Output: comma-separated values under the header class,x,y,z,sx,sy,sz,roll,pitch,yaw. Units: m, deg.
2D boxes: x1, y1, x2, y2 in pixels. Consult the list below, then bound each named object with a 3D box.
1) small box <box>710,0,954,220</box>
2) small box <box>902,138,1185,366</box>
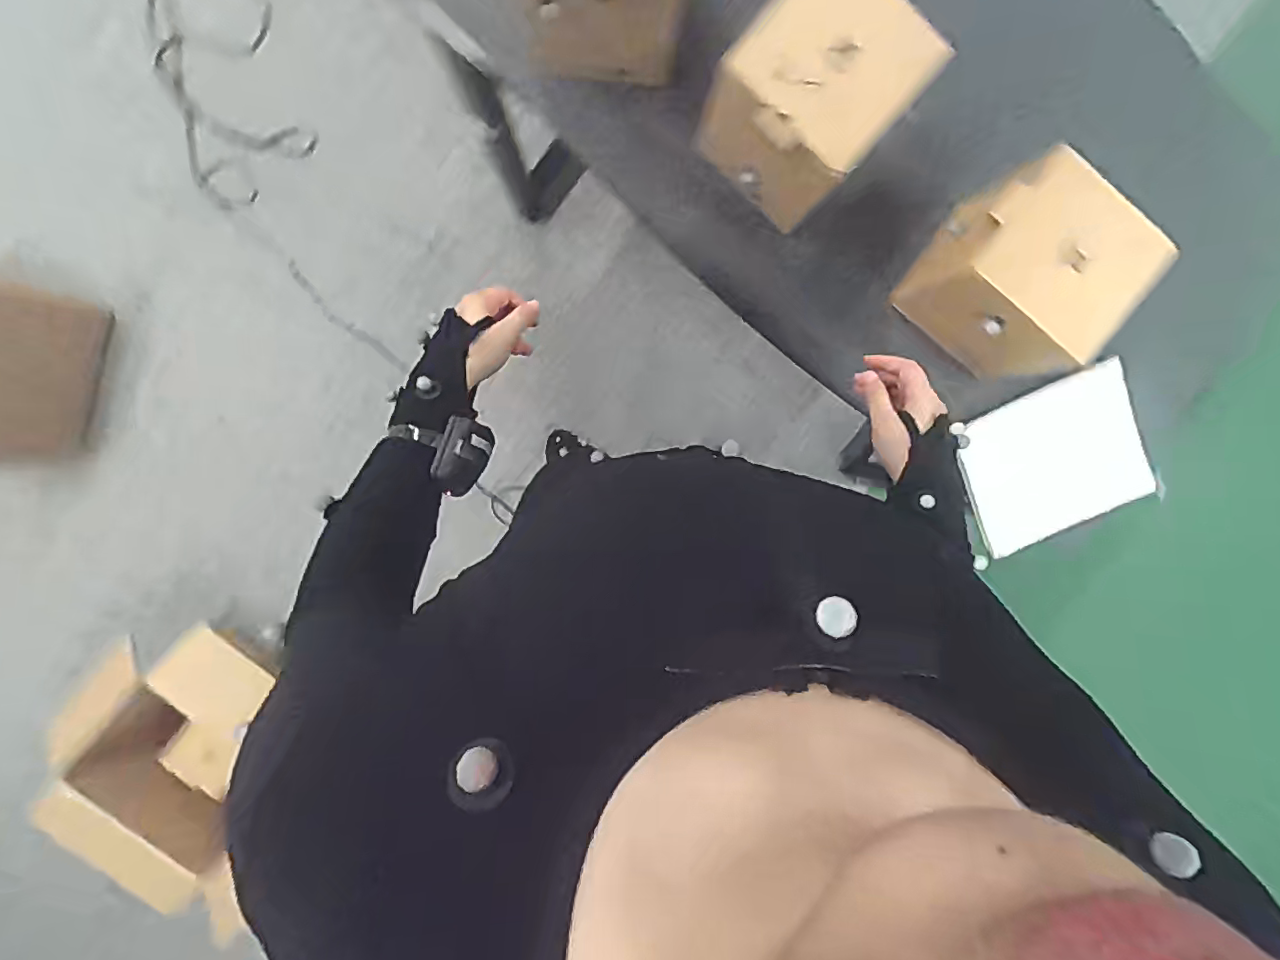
class,x,y,z,sx,sy,sz,roll,pitch,yaw
small box,0.201,-0.446,0.624,0.168,0.176,0.179,41,93,-5
small box,0.469,-0.255,0.658,0.179,0.176,0.168,37,93,-5
